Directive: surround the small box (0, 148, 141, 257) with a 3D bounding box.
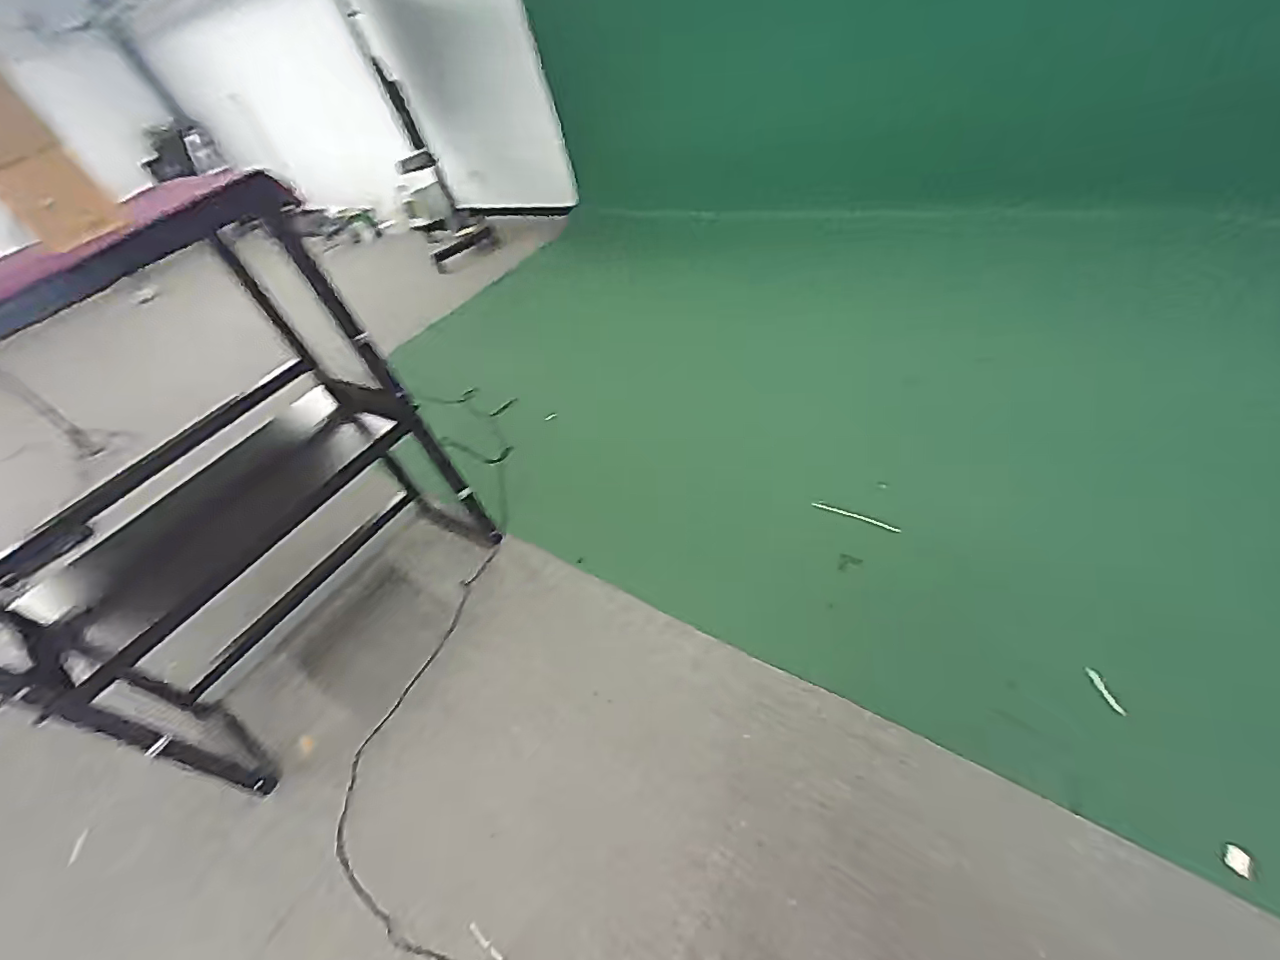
[{"bbox_3d":[-1.285,-0.619,1.218,0.179,0.176,0.168,20,56,36],"label":"small box"}]
